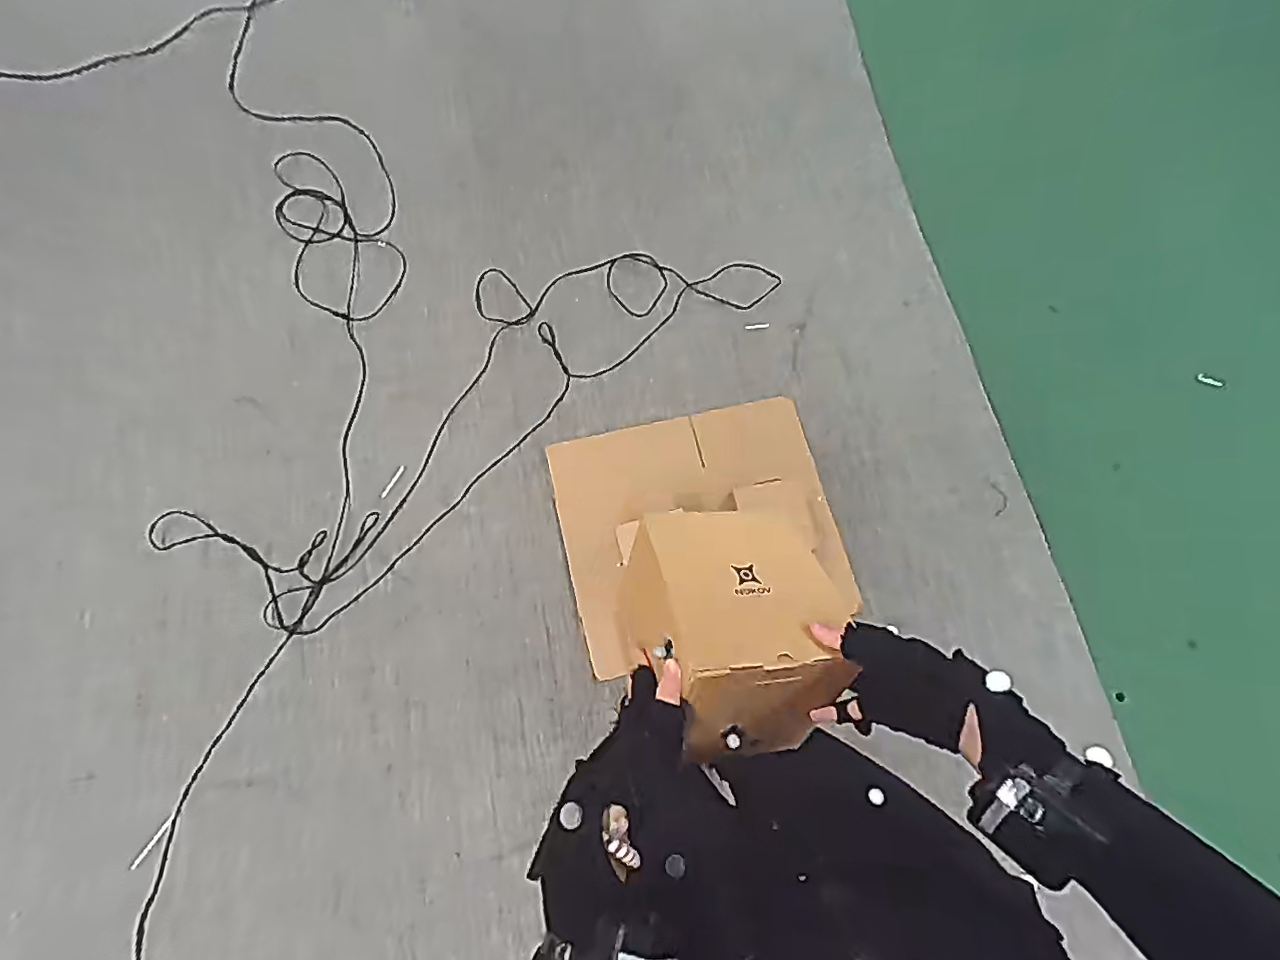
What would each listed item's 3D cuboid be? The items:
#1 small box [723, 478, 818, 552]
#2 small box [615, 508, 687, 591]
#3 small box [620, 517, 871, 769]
[{"bbox_3d":[0.308,0.109,1.321,0.168,0.176,0.179,-9,76,-4],"label":"small box"},{"bbox_3d":[0.042,0.184,1.284,0.168,0.176,0.179,-14,76,-7],"label":"small box"},{"bbox_3d":[0.084,0.156,0.544,0.168,0.176,0.179,0,39,-18],"label":"small box"}]
